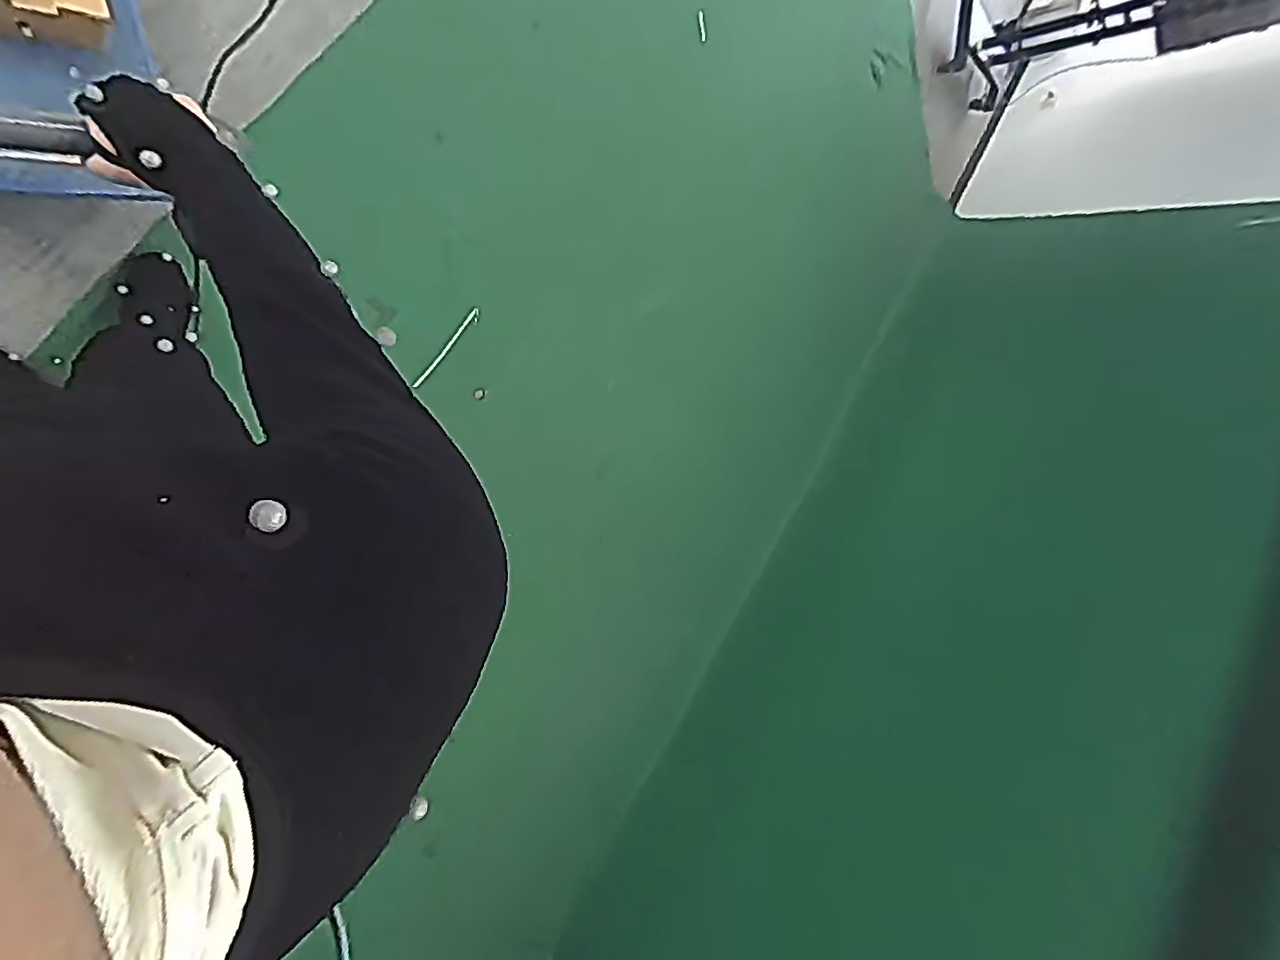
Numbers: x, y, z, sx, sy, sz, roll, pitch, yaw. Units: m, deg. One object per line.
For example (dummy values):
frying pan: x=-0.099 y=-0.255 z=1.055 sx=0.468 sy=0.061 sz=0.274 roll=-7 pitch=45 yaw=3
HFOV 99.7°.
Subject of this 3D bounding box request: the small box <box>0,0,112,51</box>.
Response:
small box: x=-0.919 y=-0.771 z=0.790 sx=0.168 sy=0.176 sz=0.179 roll=-22 pitch=121 yaw=-42
